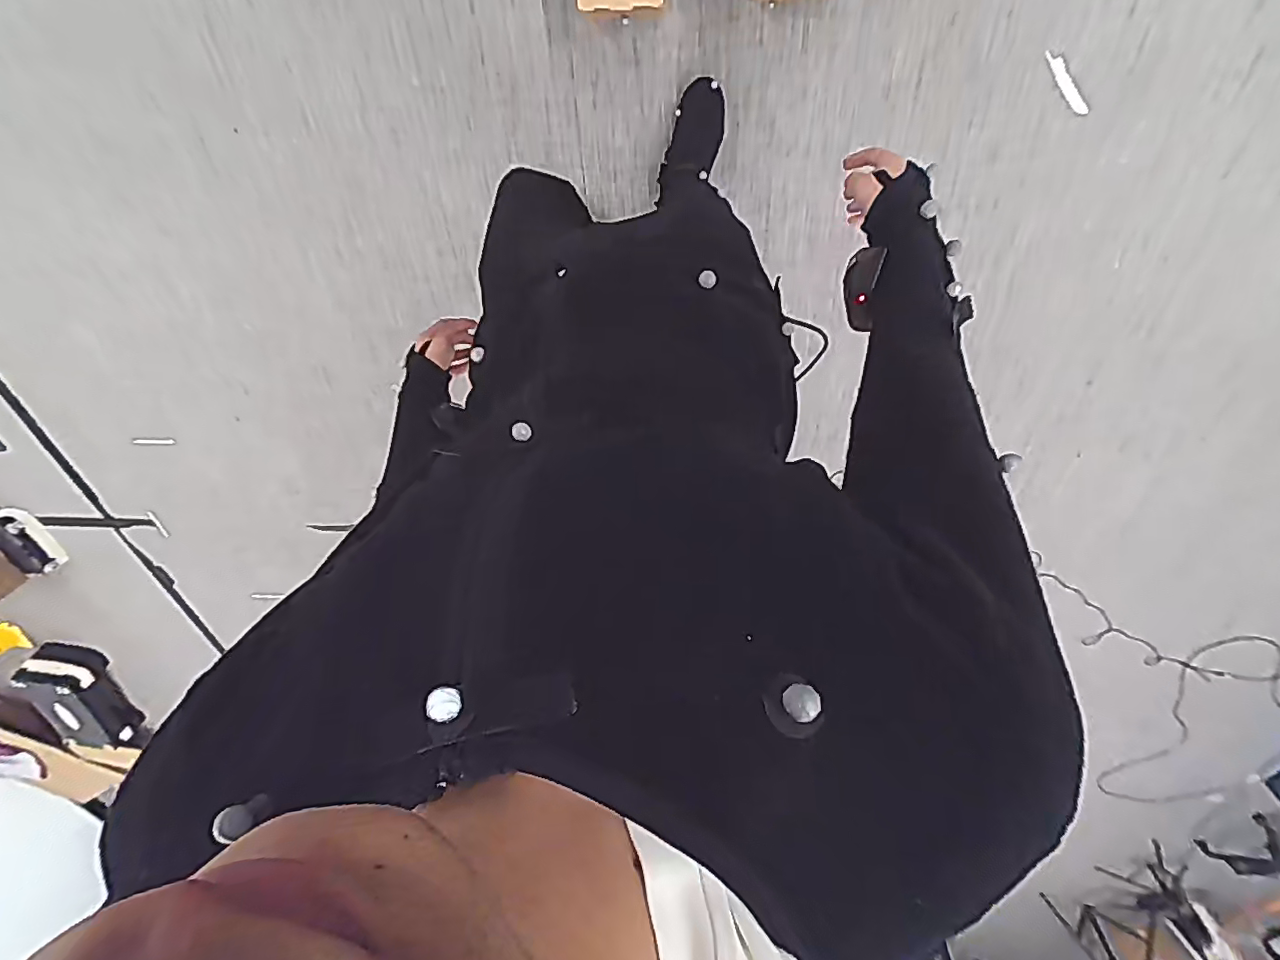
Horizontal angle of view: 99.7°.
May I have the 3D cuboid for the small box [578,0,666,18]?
[{"bbox_3d":[-0.033,-1.001,1.024,0.168,0.176,0.179,0,127,4],"label":"small box"}]
